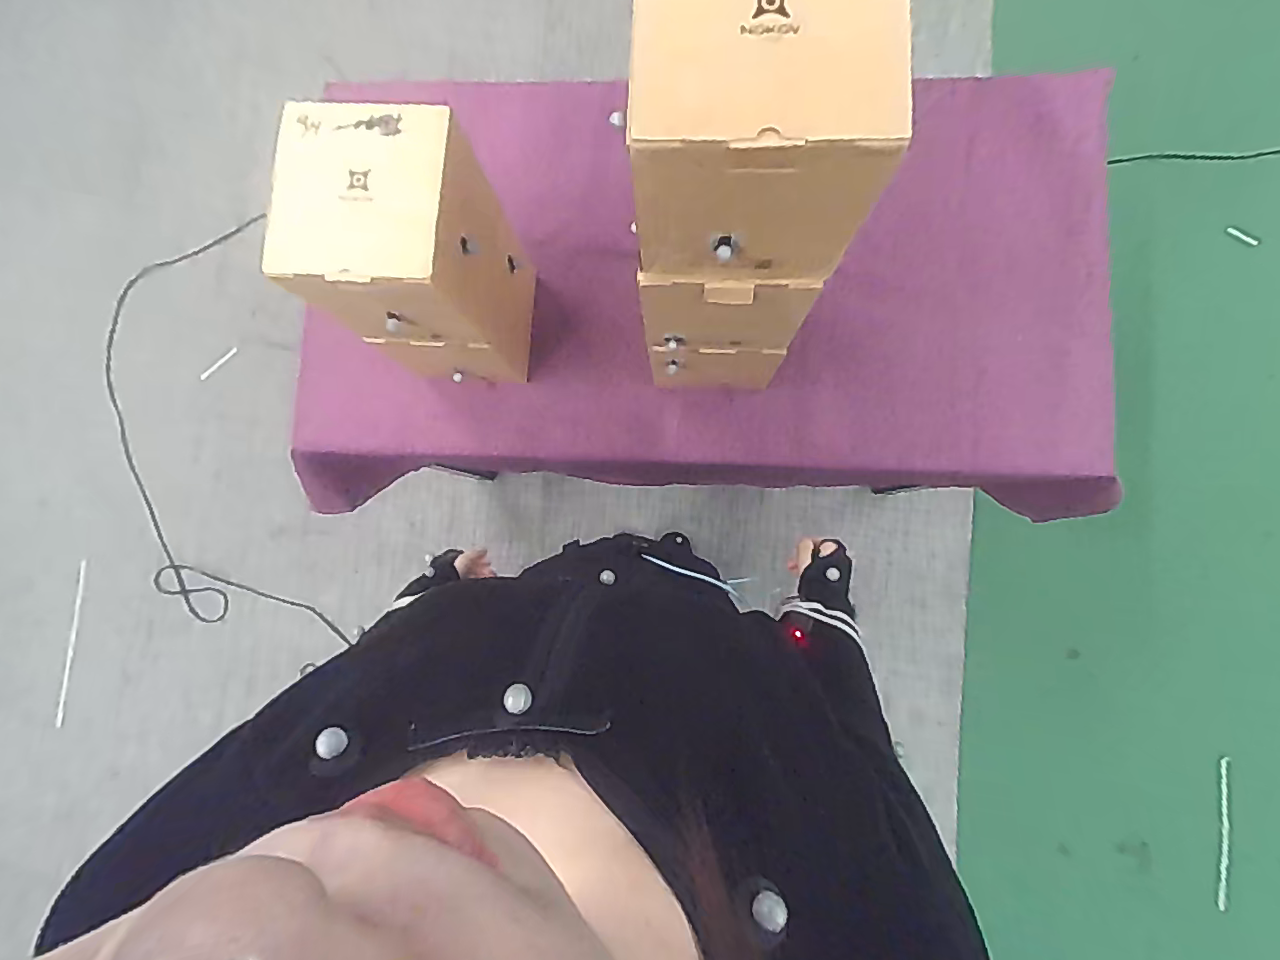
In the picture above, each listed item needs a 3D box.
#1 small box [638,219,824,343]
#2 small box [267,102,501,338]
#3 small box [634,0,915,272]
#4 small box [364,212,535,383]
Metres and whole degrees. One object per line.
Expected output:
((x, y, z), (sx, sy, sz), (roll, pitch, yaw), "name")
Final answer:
((0.089, -0.252, 0.564), (0.168, 0.176, 0.179), (2, 84, 3), "small box")
((-0.258, -0.264, 0.584), (0.168, 0.176, 0.179), (3, 85, 3), "small box")
((0.083, -0.277, 0.403), (0.168, 0.176, 0.179), (1, 85, 3), "small box")
((-0.249, -0.245, 0.747), (0.168, 0.176, 0.179), (3, 85, 4), "small box")
